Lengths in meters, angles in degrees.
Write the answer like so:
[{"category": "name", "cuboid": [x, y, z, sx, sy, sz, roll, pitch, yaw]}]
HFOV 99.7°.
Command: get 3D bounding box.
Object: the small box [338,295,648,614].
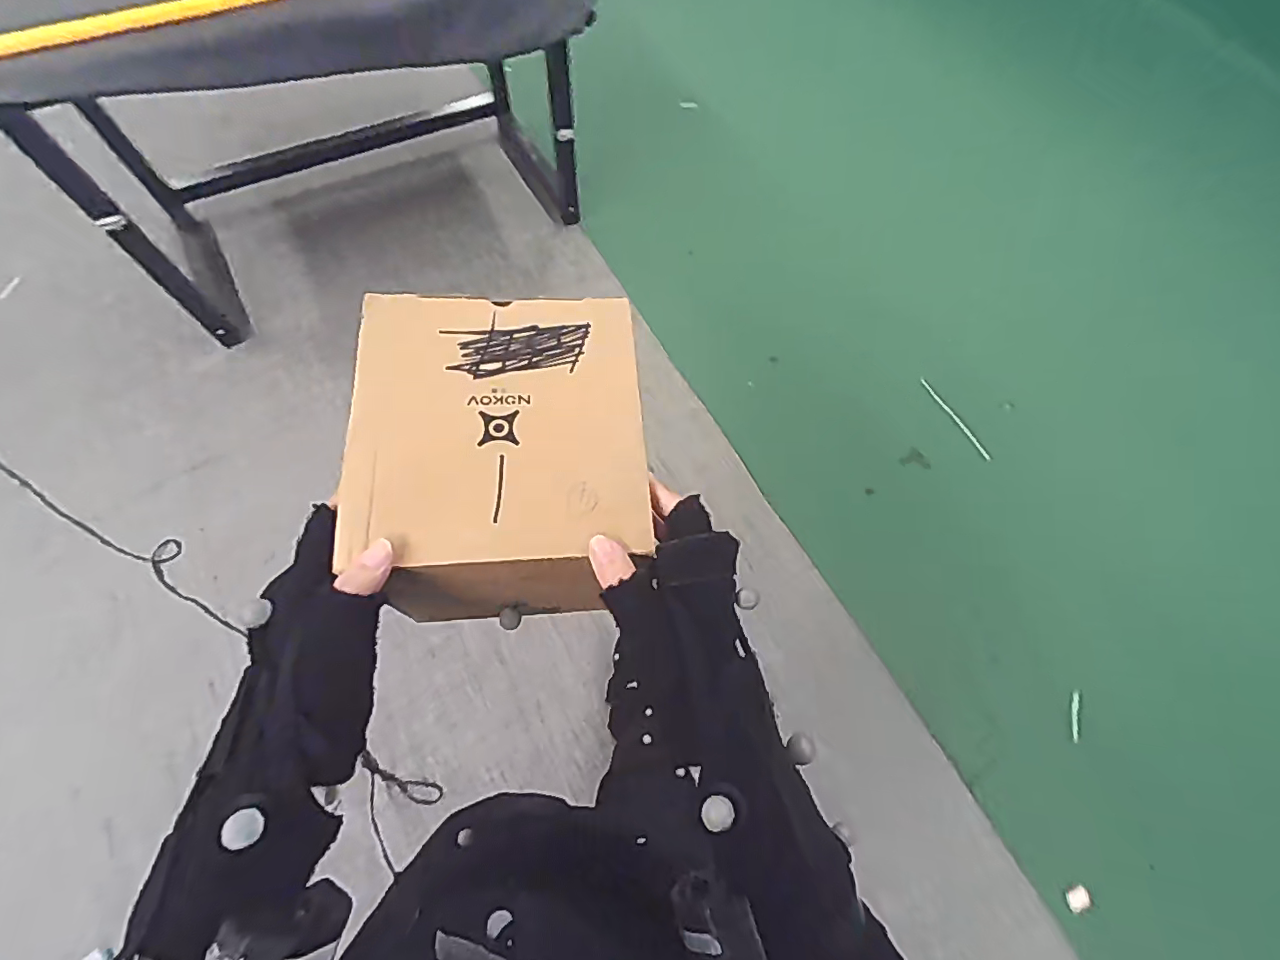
[{"category": "small box", "cuboid": [-0.093, -0.009, 0.395, 0.168, 0.176, 0.179, -3, 67, -8]}]
